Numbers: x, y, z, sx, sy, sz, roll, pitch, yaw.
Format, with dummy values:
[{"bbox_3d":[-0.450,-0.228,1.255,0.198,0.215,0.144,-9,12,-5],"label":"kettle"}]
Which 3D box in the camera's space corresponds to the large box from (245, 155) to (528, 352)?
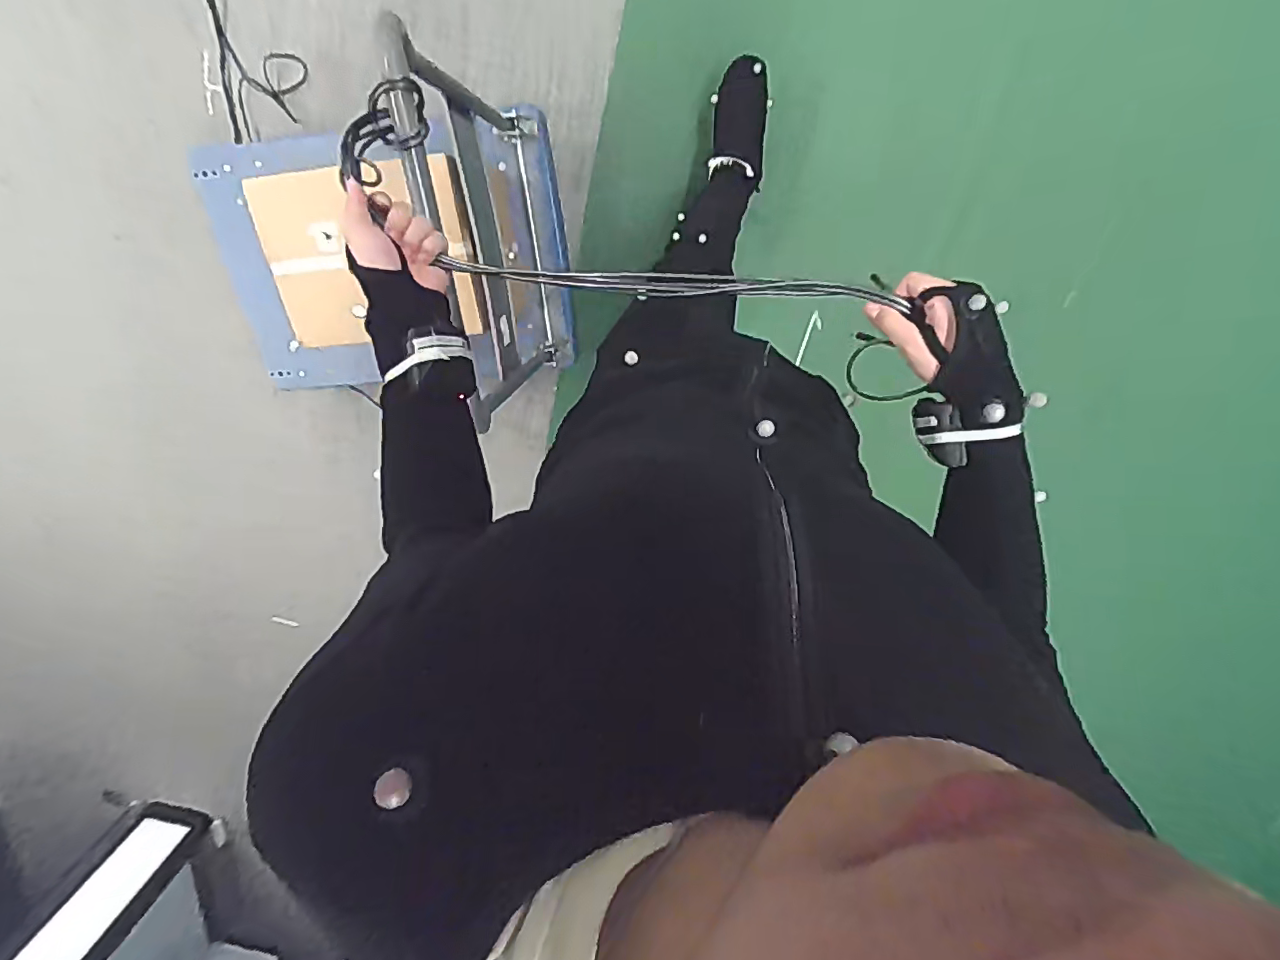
[{"bbox_3d":[-0.500,-0.477,1.160,0.408,0.320,0.320,-3,113,8],"label":"large box"}]
